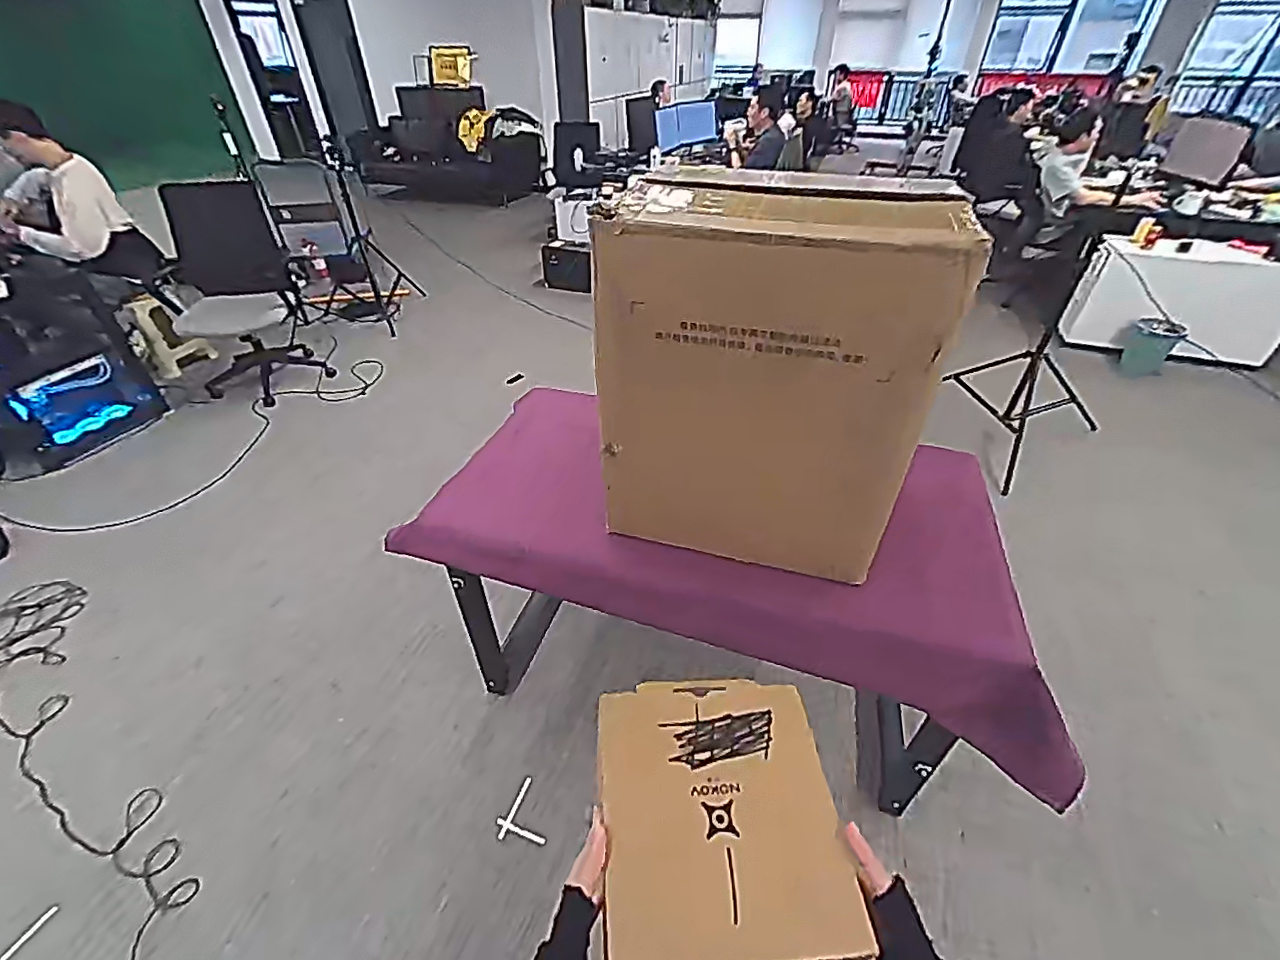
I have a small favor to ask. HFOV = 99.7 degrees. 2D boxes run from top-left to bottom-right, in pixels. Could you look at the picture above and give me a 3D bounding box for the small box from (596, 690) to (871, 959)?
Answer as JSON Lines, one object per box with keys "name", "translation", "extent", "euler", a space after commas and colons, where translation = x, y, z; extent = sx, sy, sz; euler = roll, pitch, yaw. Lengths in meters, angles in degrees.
{"name": "small box", "translation": [0.049, 0.294, 0.435], "extent": [0.168, 0.176, 0.179], "euler": [-1, 41, -6]}
